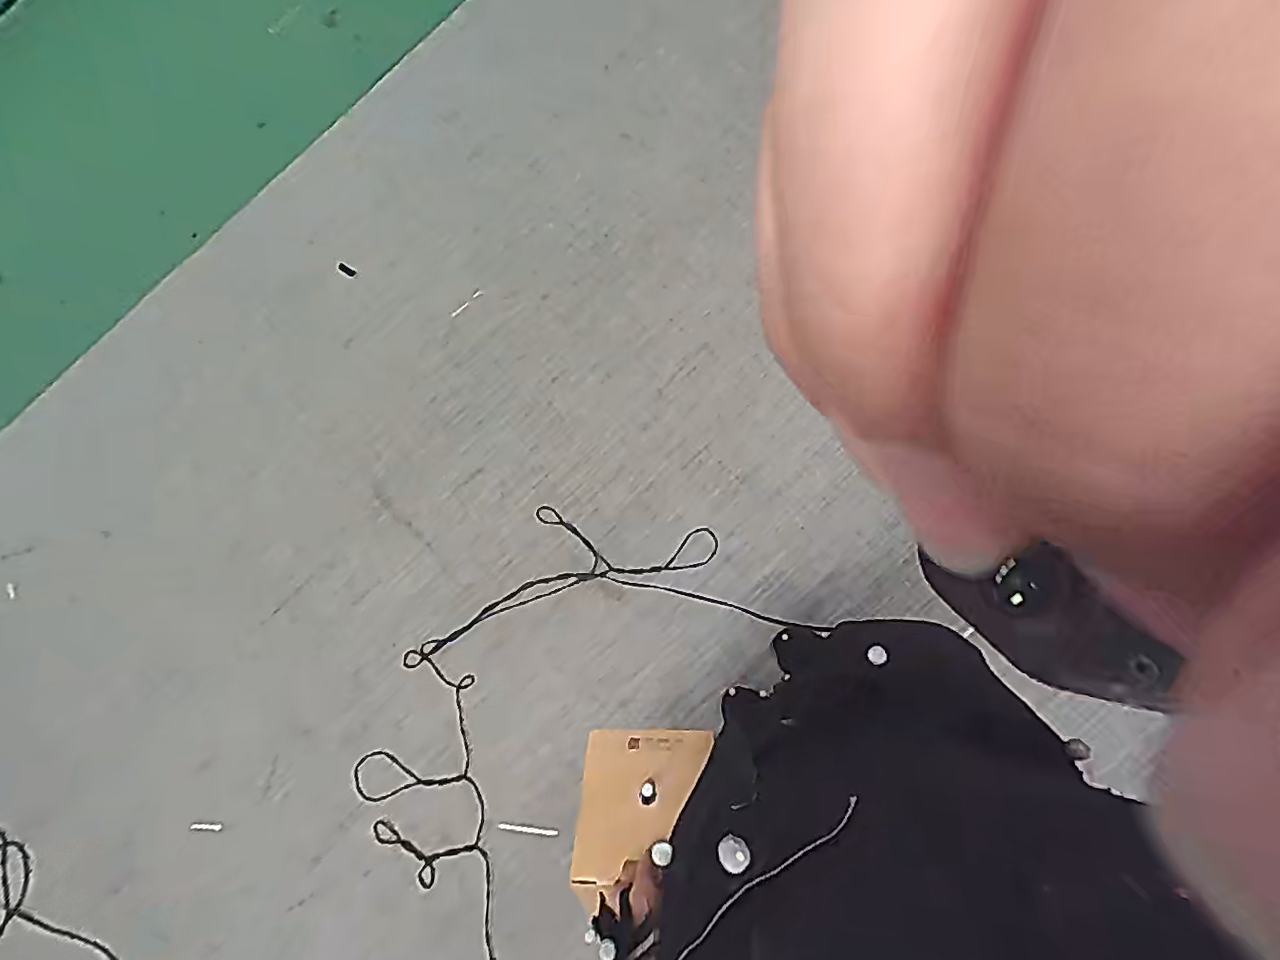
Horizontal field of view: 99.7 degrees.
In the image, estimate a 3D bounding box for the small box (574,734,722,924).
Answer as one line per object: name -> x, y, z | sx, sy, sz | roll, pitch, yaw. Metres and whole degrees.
small box -> 0.016, 0.446, 0.698 | 0.168, 0.179, 0.176 | -1, 41, 6
